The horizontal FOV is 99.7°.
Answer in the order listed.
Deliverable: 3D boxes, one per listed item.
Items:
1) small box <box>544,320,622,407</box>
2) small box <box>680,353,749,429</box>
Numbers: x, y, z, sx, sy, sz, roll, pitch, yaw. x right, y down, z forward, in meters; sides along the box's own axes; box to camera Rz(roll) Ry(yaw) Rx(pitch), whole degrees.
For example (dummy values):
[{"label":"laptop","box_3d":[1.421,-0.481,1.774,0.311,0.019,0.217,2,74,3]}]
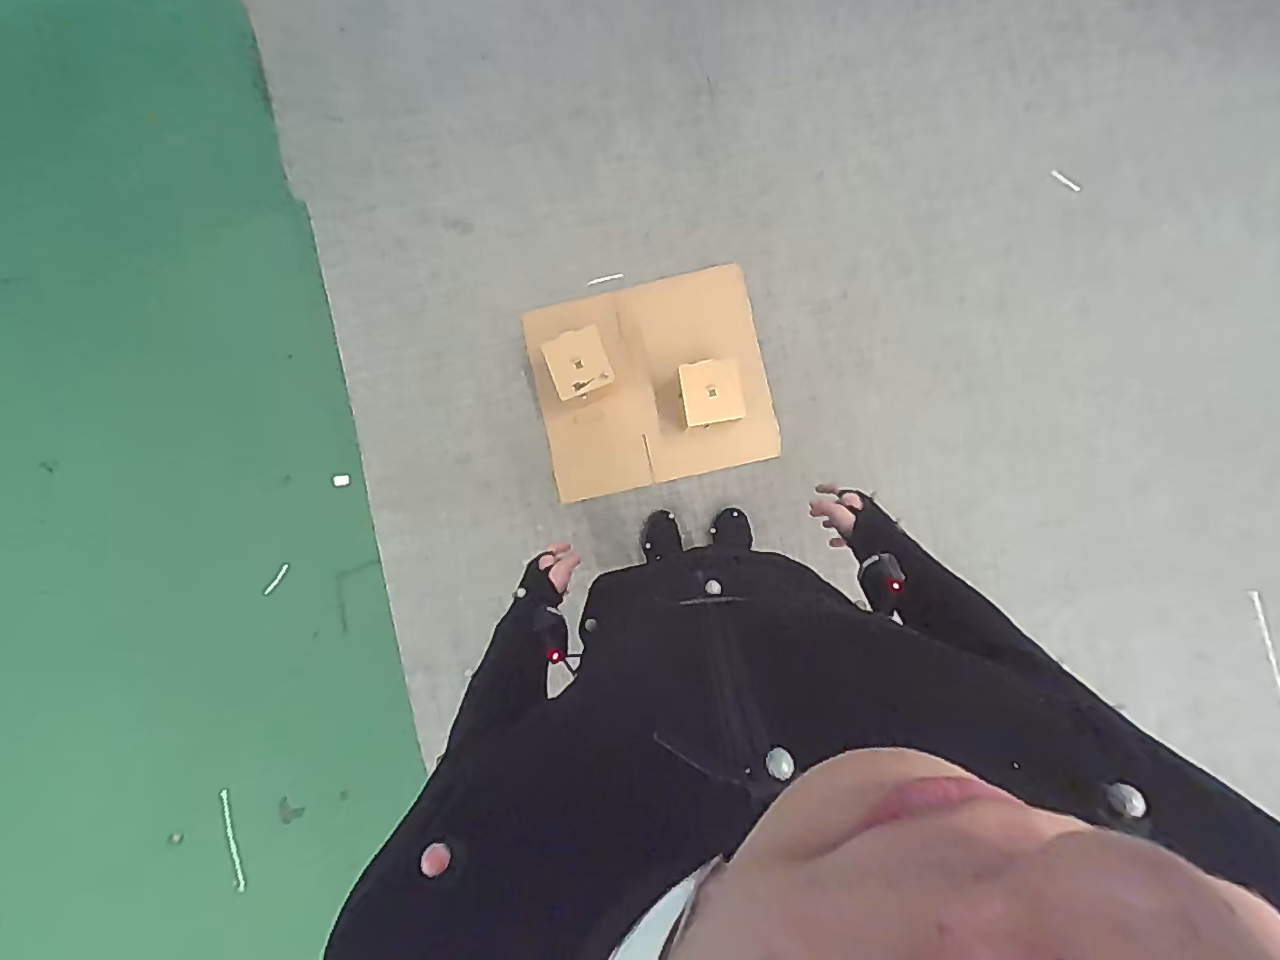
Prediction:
[{"label":"small box","box_3d":[-0.160,-0.330,1.567,0.168,0.176,0.179,-20,87,2]},{"label":"small box","box_3d":[0.209,-0.246,1.545,0.168,0.176,0.179,-9,87,3]}]
